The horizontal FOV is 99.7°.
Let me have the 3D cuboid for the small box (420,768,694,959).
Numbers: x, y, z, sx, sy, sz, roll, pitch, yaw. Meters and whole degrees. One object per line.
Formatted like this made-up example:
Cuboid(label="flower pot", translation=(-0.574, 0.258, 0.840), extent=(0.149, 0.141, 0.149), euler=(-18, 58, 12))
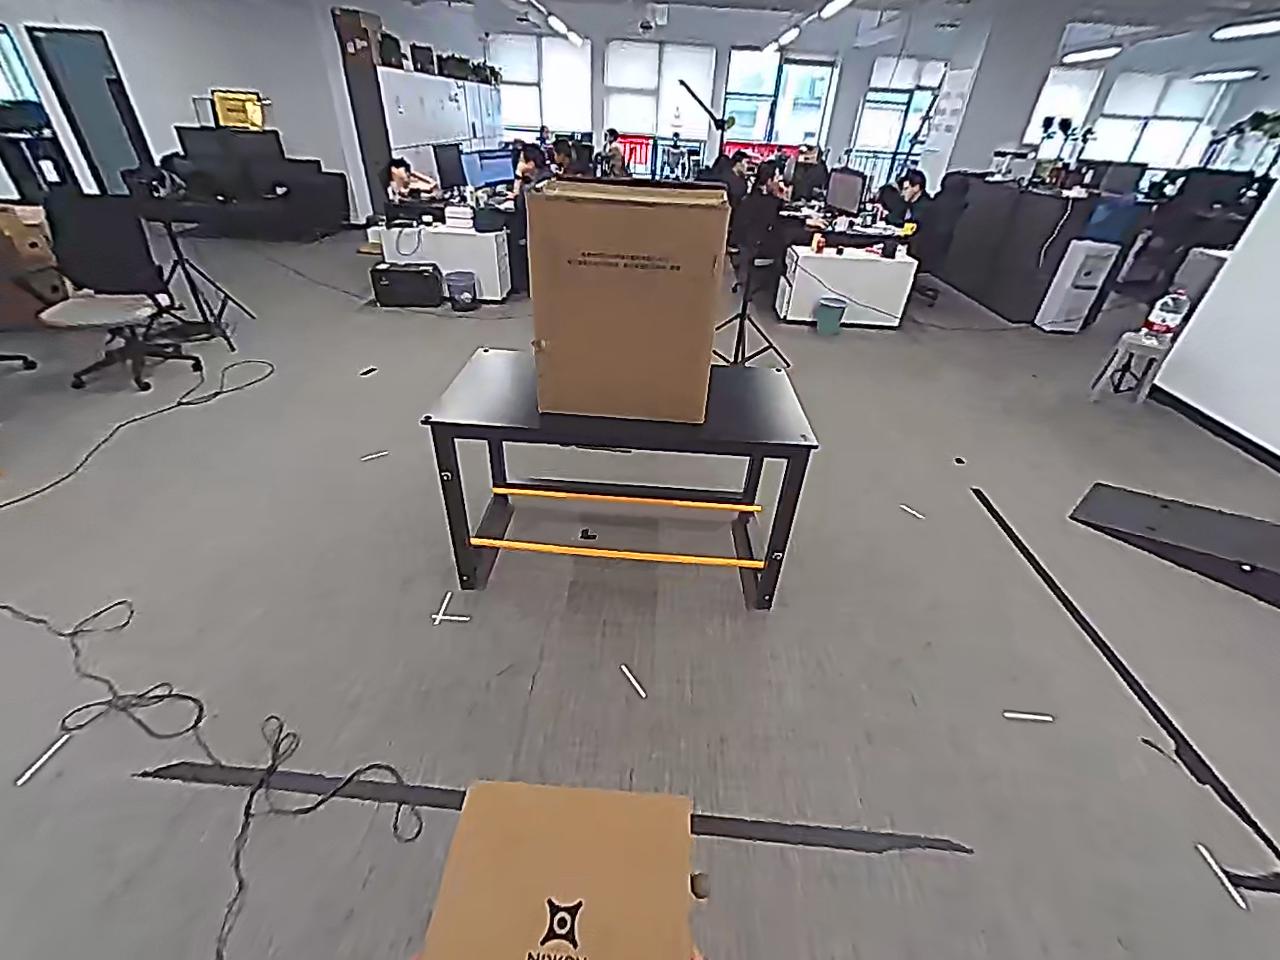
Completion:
Cuboid(label="small box", translation=(-0.049, 0.337, 0.389), extent=(0.168, 0.176, 0.179), euler=(2, 42, 3))
